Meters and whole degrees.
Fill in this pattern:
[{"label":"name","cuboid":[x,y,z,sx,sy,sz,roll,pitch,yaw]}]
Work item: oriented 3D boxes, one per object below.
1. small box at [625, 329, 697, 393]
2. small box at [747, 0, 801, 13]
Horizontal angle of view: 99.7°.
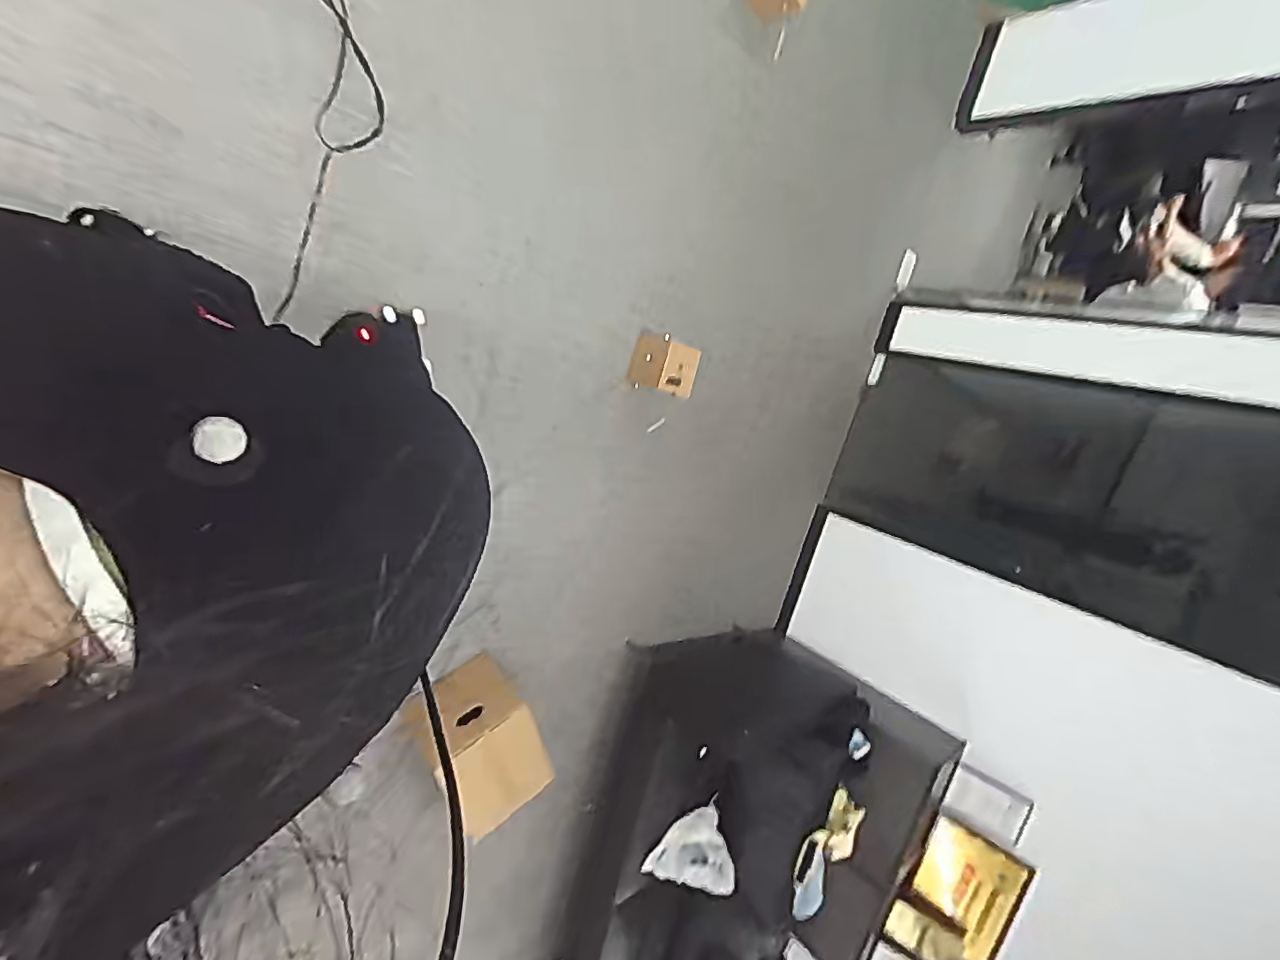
[{"label":"small box","cuboid":[0.070,-0.427,1.936,0.168,0.176,0.179,8,103,-45]},{"label":"small box","cuboid":[0.423,-1.625,1.700,0.179,0.176,0.168,14,98,-46]}]
